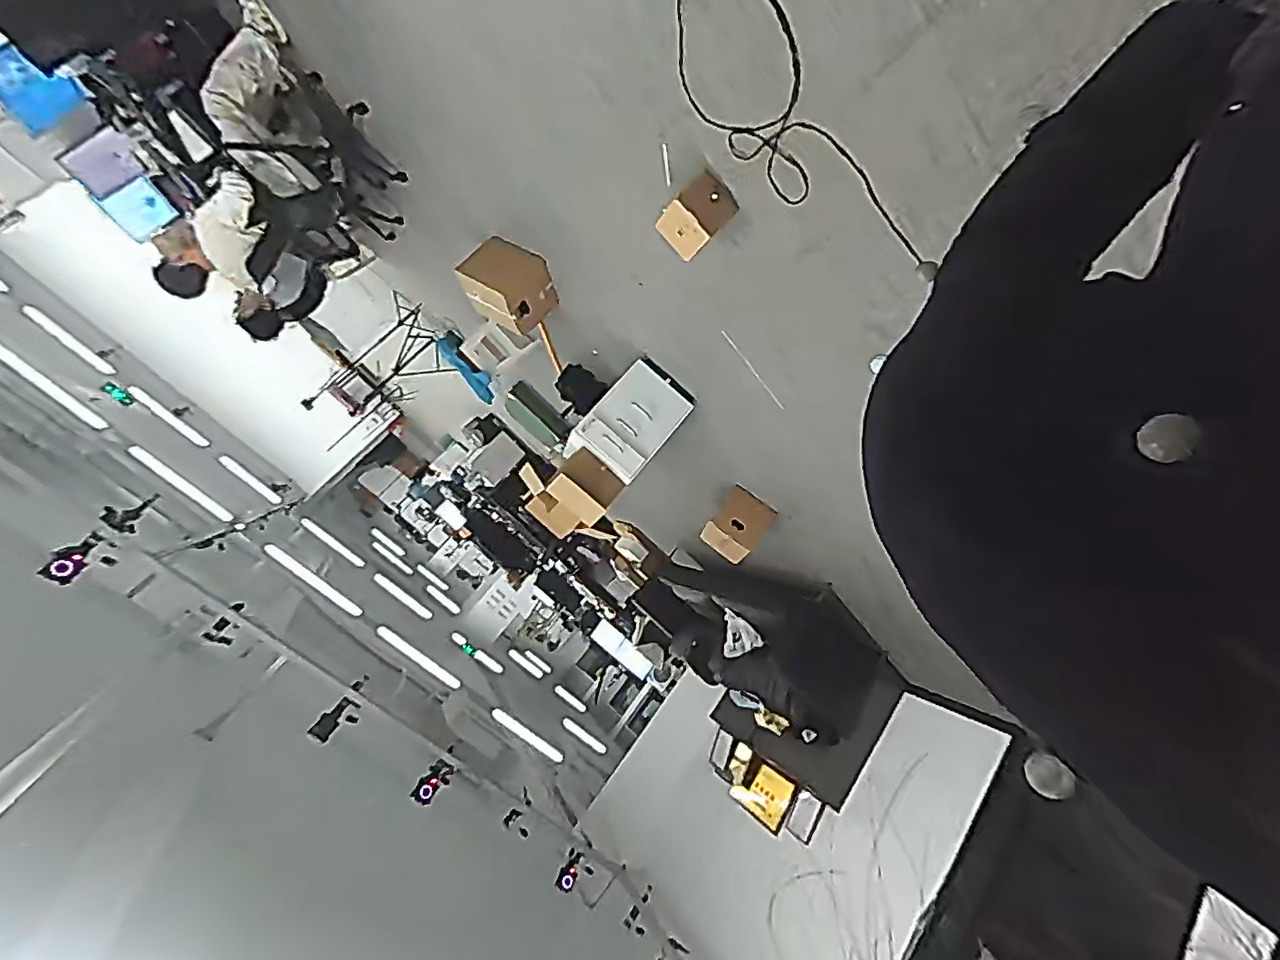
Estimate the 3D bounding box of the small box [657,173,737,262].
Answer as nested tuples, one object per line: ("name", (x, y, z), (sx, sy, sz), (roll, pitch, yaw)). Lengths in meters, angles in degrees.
("small box", (0.192, -0.876, 1.809), (0.168, 0.176, 0.179), (44, 162, -12))
